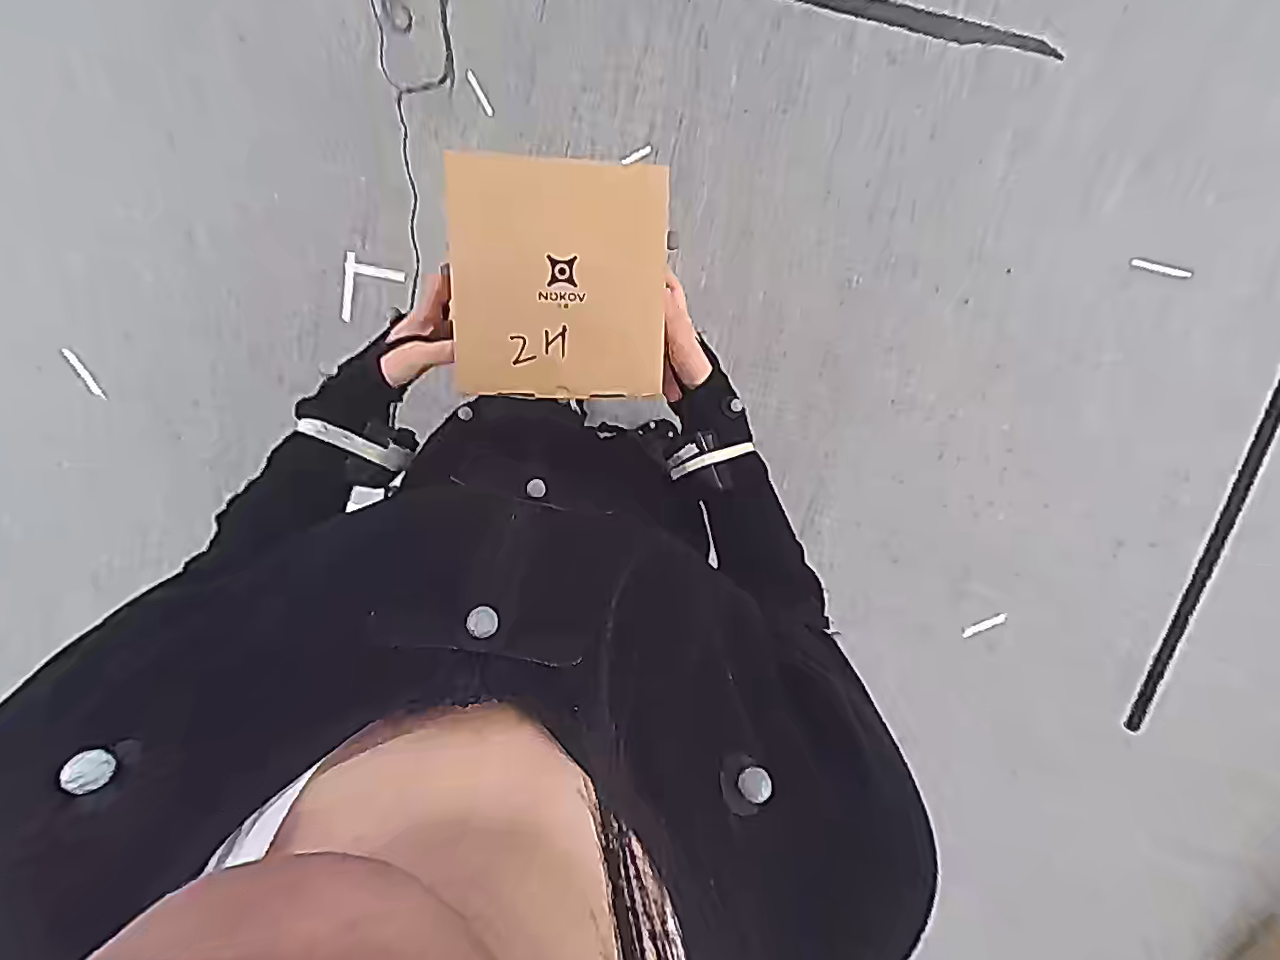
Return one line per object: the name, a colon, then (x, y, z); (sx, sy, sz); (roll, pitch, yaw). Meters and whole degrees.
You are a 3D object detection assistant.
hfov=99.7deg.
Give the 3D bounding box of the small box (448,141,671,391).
small box: (-0.070, -0.174, 0.490); (0.168, 0.176, 0.179); (0, 103, -6)
